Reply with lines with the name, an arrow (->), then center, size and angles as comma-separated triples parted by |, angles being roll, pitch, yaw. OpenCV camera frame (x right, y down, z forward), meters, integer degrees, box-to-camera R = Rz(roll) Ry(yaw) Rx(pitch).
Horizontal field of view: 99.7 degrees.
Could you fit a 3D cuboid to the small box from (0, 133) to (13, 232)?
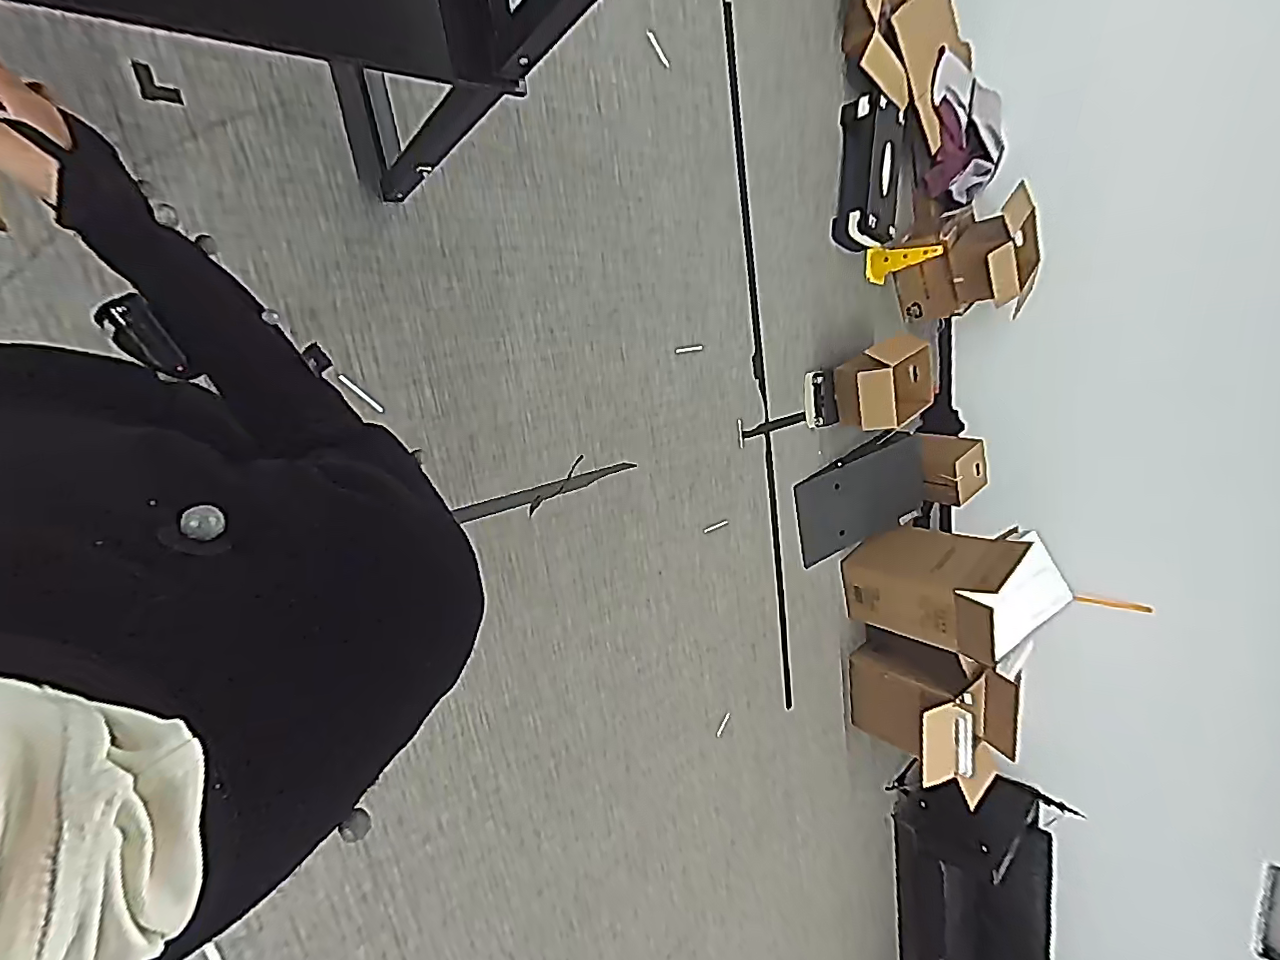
small box -> -0.600, -0.299, 0.391 | 0.168, 0.176, 0.179 | -10, 105, -43
